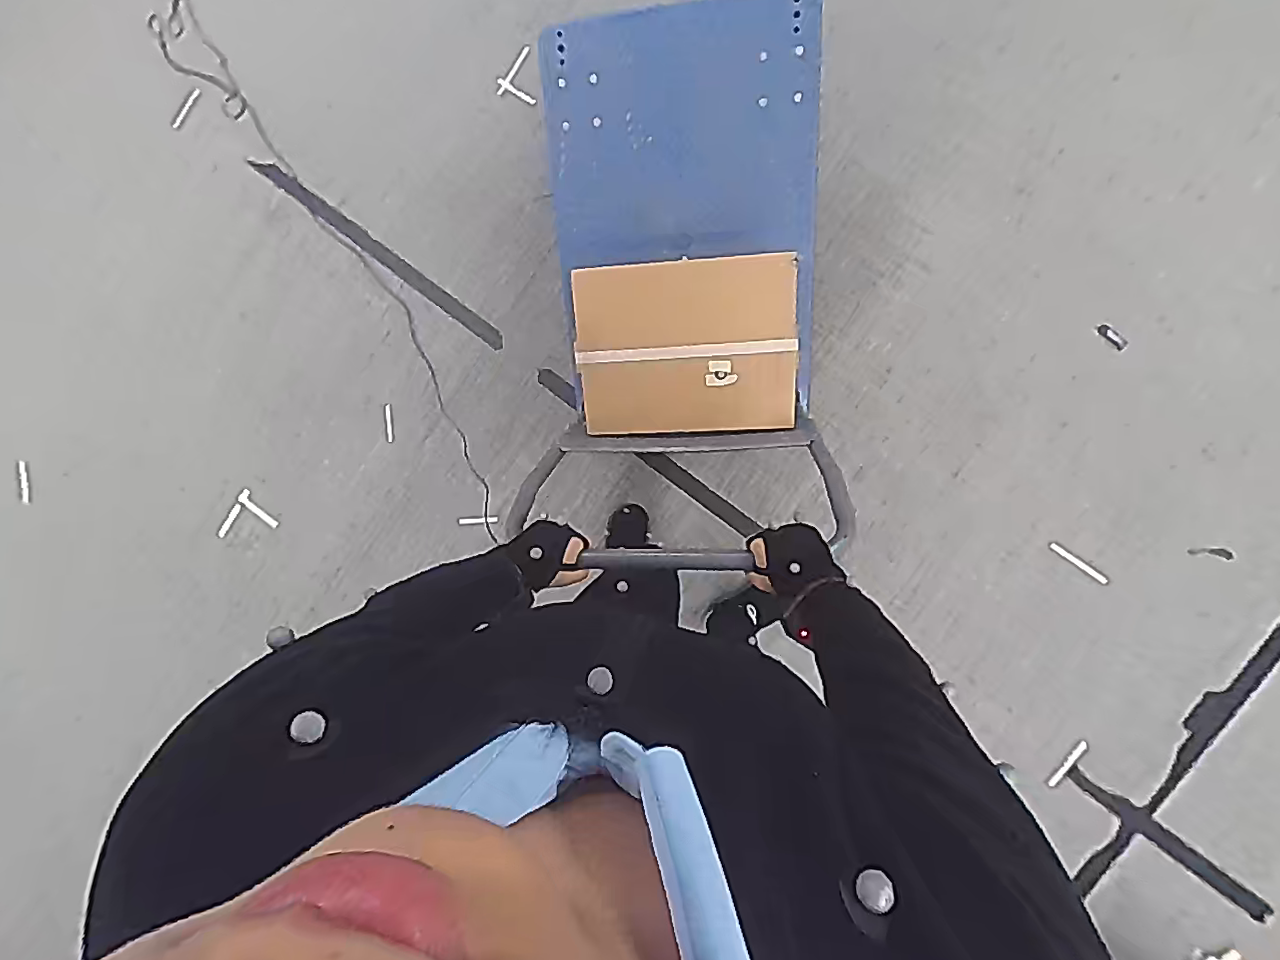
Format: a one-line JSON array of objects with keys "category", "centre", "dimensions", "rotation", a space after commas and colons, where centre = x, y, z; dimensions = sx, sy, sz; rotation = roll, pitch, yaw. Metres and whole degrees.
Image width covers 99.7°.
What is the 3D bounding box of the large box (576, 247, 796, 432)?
[{"category": "large box", "centre": [0.105, -0.299, 1.159], "dimensions": [0.408, 0.320, 0.320], "rotation": [-2, 109, 8]}]
